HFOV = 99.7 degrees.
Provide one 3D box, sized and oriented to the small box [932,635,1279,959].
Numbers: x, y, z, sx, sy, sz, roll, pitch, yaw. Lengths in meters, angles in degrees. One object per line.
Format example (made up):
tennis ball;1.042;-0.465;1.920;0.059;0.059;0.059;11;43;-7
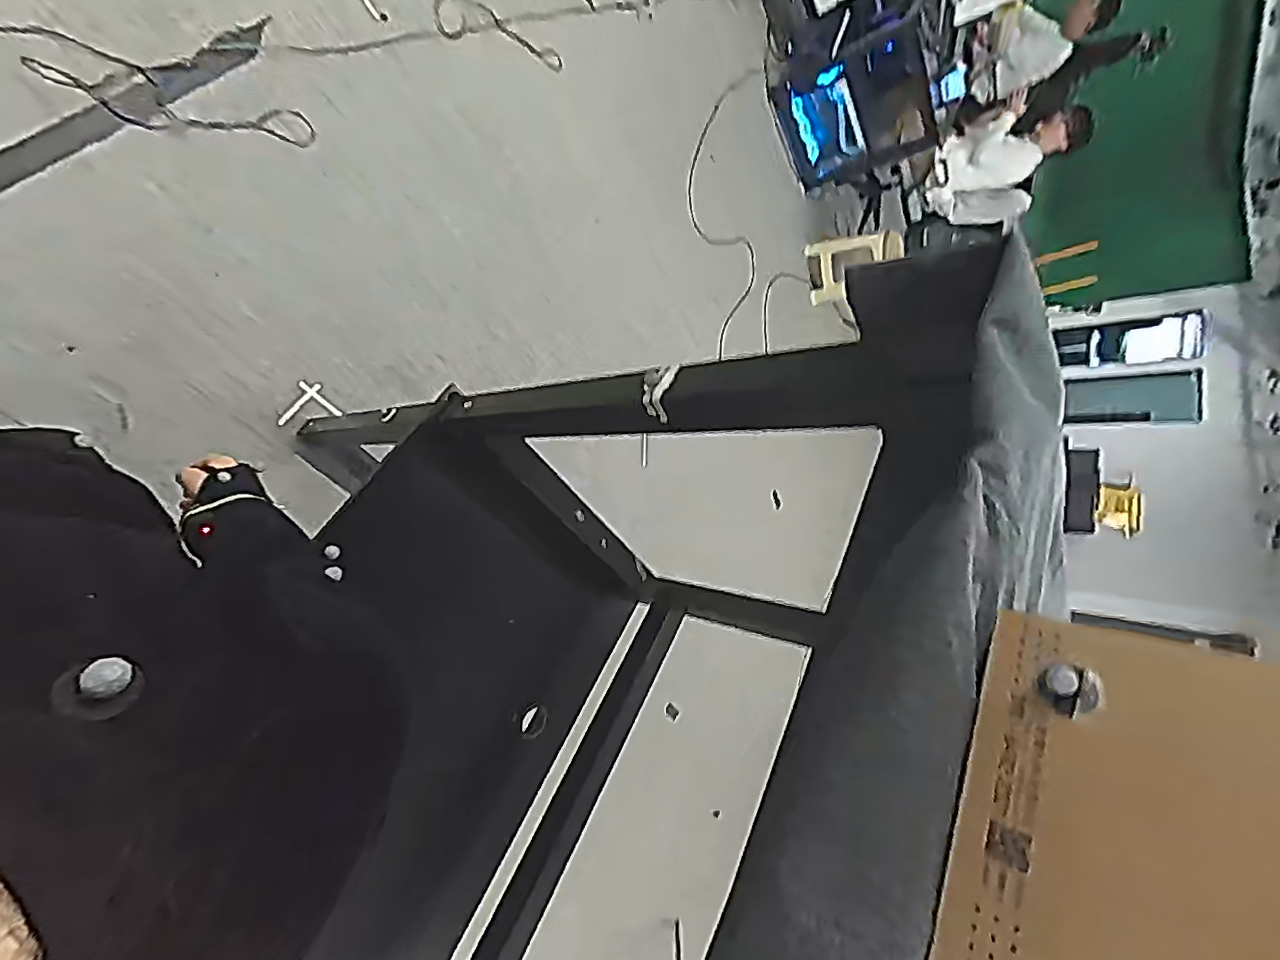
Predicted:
small box;0.247;0.188;0.245;0.179;0.176;0.168;50;59;-39
